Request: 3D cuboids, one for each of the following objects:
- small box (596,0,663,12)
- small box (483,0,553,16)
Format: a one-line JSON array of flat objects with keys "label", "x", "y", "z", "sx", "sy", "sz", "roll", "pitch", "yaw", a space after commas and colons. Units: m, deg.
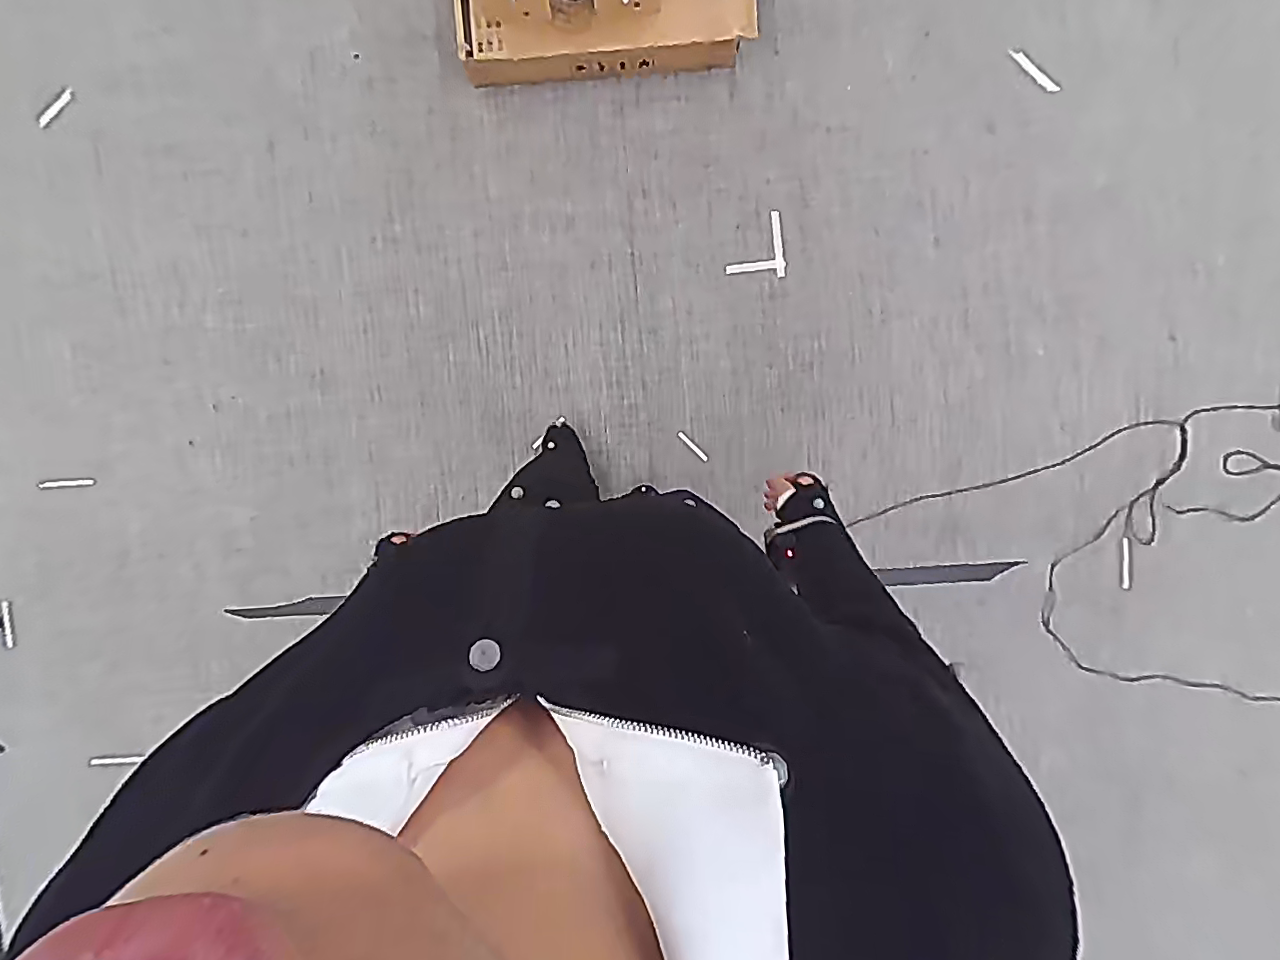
[{"label": "small box", "x": -0.028, "y": -1.228, "z": 1.236, "sx": 0.168, "sy": 0.176, "sz": 0.179, "roll": 0, "pitch": 93, "yaw": 2}, {"label": "small box", "x": -0.296, "y": -1.210, "z": 1.239, "sx": 0.168, "sy": 0.176, "sz": 0.179, "roll": -3, "pitch": 94, "yaw": 1}]
